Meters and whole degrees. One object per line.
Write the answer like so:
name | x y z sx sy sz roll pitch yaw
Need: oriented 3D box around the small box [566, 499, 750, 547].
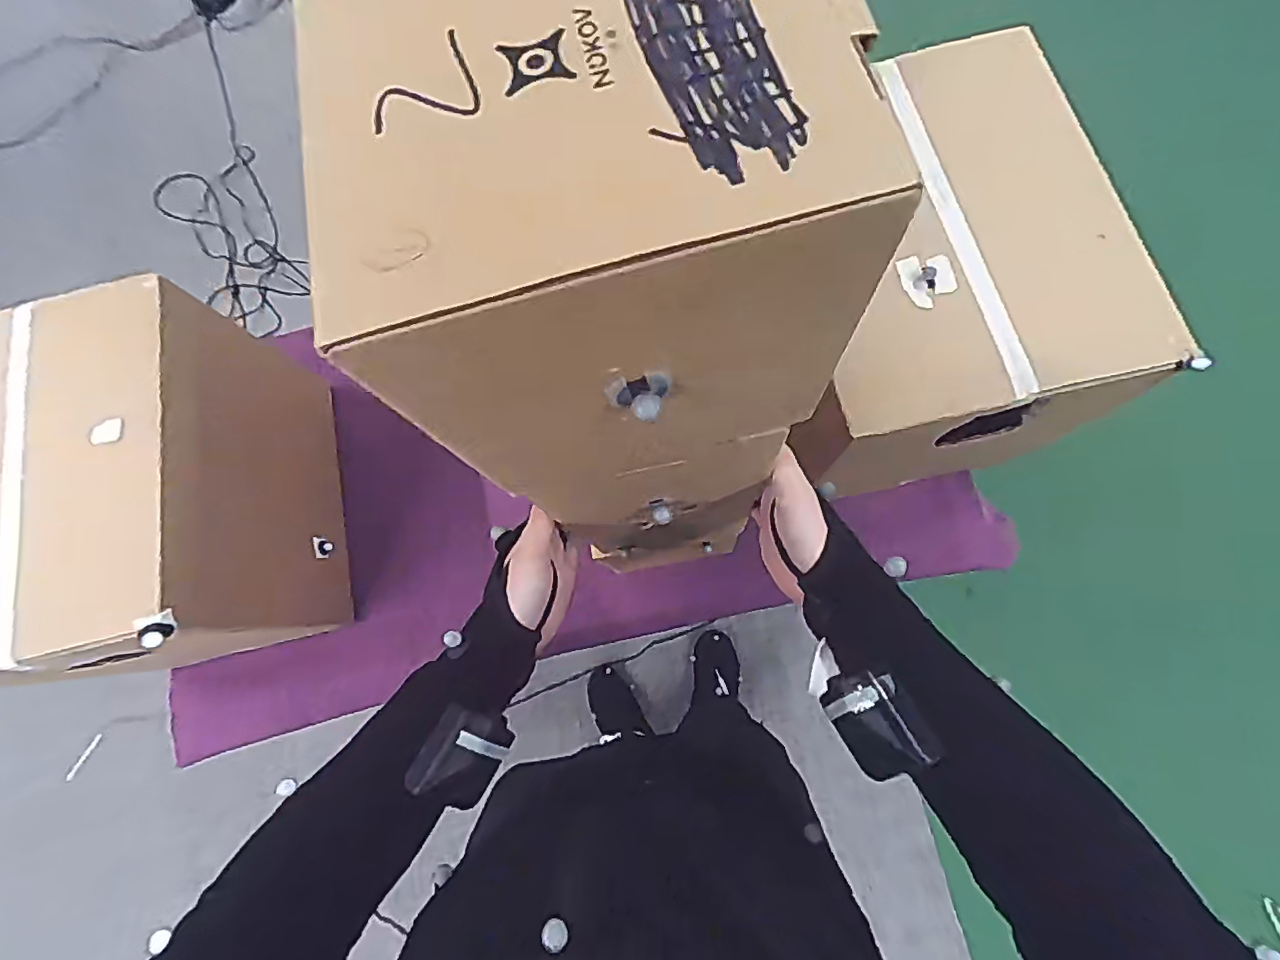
small box | 0.014 -0.031 0.565 0.168 0.176 0.179 -9 73 3

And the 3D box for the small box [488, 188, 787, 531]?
small box | -0.002 -0.073 0.406 0.168 0.176 0.179 -11 73 4

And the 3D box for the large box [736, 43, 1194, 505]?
large box | 0.318 -0.216 0.680 0.320 0.320 0.408 -13 75 4
